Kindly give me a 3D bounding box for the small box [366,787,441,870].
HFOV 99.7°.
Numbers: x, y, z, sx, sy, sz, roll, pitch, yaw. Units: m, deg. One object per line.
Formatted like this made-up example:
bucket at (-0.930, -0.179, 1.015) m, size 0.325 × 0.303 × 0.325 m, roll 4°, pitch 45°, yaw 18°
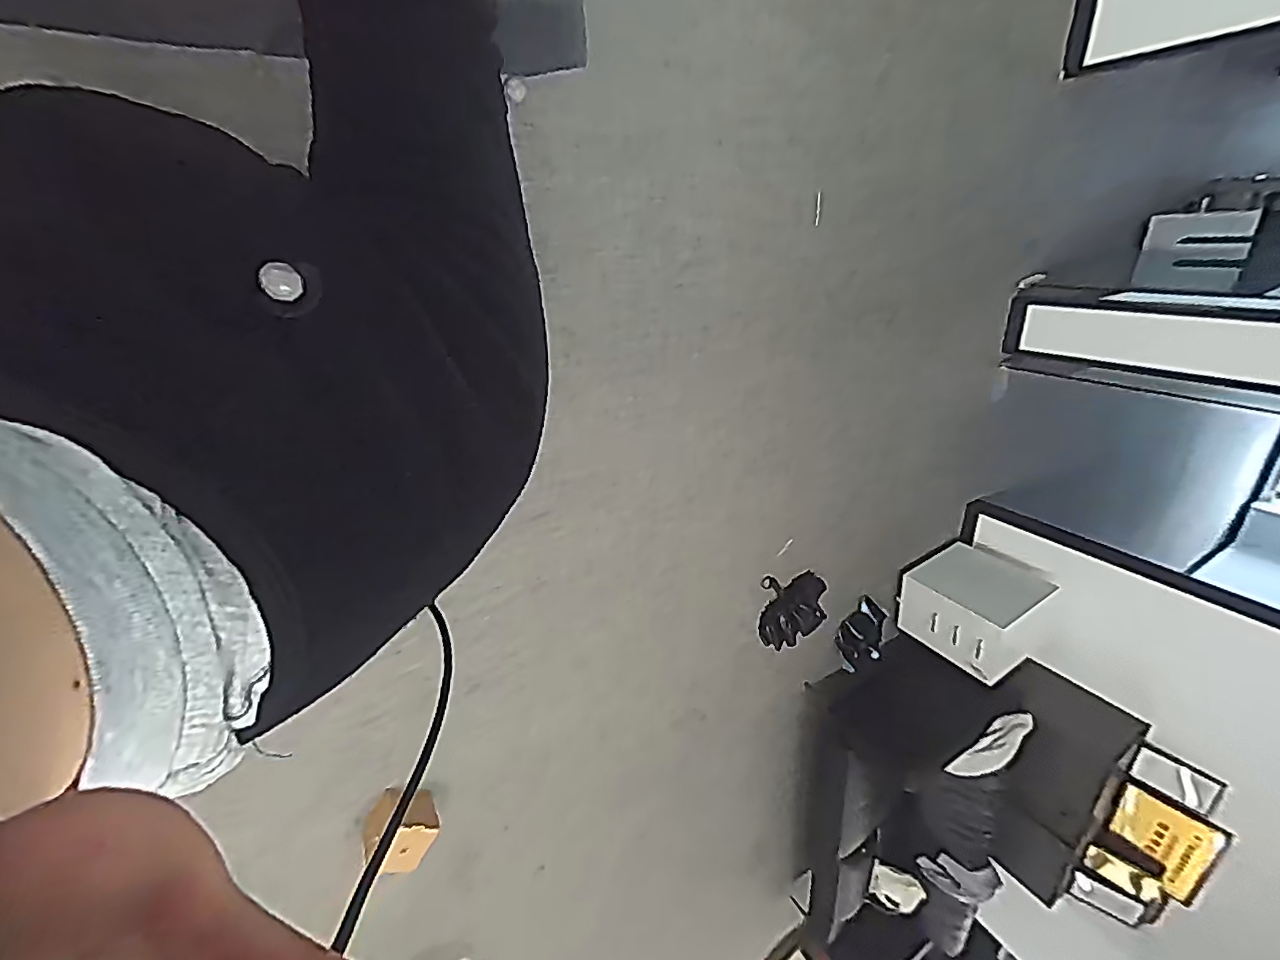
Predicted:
small box at (-0.815, 1.186, 1.850) m, size 0.168 × 0.176 × 0.179 m, roll 31°, pitch 92°, yaw -38°
